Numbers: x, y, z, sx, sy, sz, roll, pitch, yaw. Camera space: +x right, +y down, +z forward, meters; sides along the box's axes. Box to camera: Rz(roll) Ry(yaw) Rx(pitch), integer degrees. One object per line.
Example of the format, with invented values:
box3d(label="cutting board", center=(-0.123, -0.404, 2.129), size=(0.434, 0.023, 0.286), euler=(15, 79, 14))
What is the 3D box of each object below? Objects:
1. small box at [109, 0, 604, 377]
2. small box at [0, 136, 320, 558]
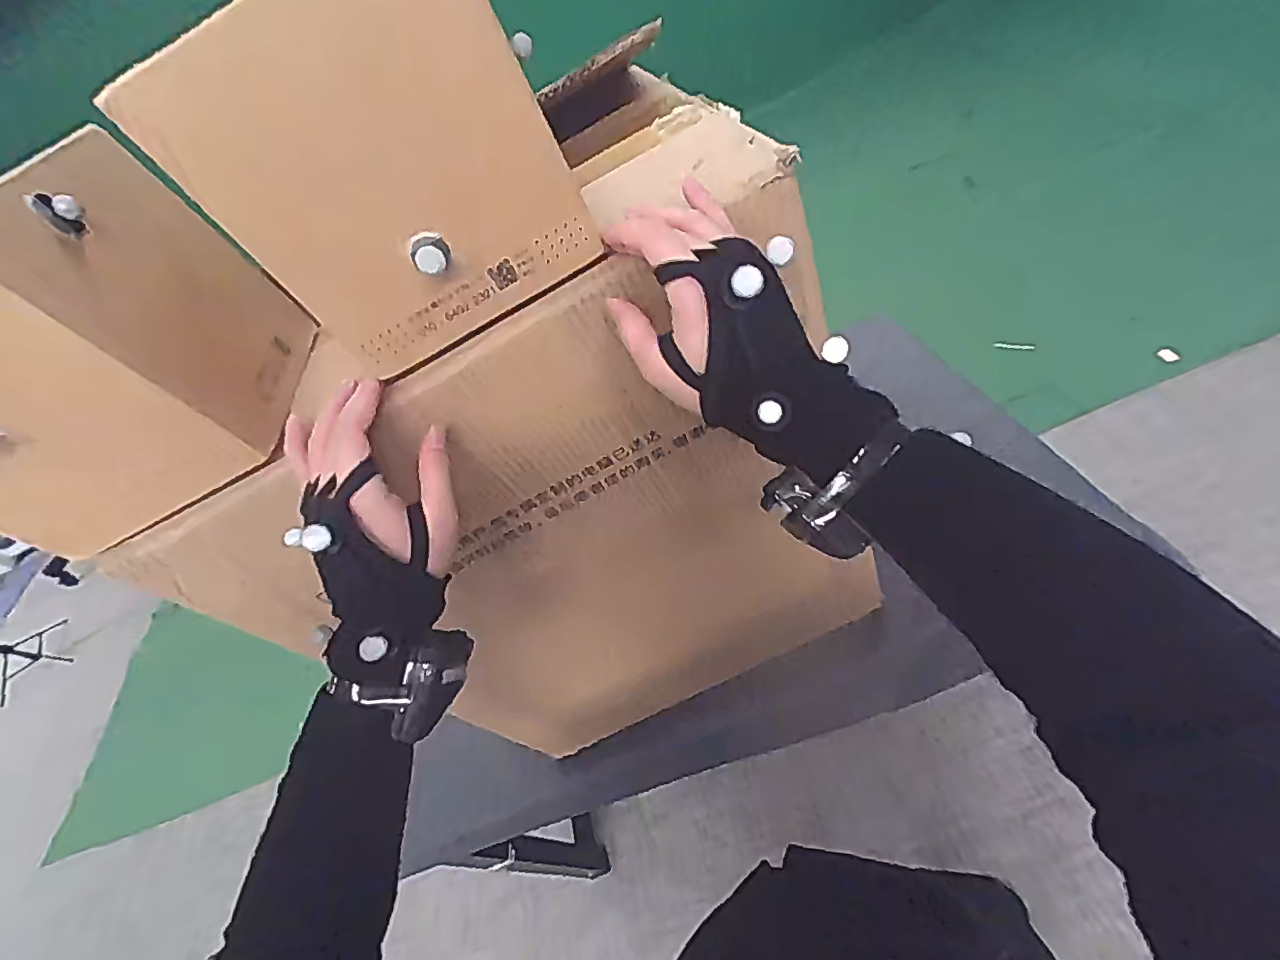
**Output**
box3d(label="small box", center=(-0.142, -0.197, 0.332), size=(0.168, 0.176, 0.179), euler=(-28, 48, 6))
box3d(label="small box", center=(-0.358, -0.075, 0.356), size=(0.179, 0.176, 0.168), euler=(-26, 47, 10))
